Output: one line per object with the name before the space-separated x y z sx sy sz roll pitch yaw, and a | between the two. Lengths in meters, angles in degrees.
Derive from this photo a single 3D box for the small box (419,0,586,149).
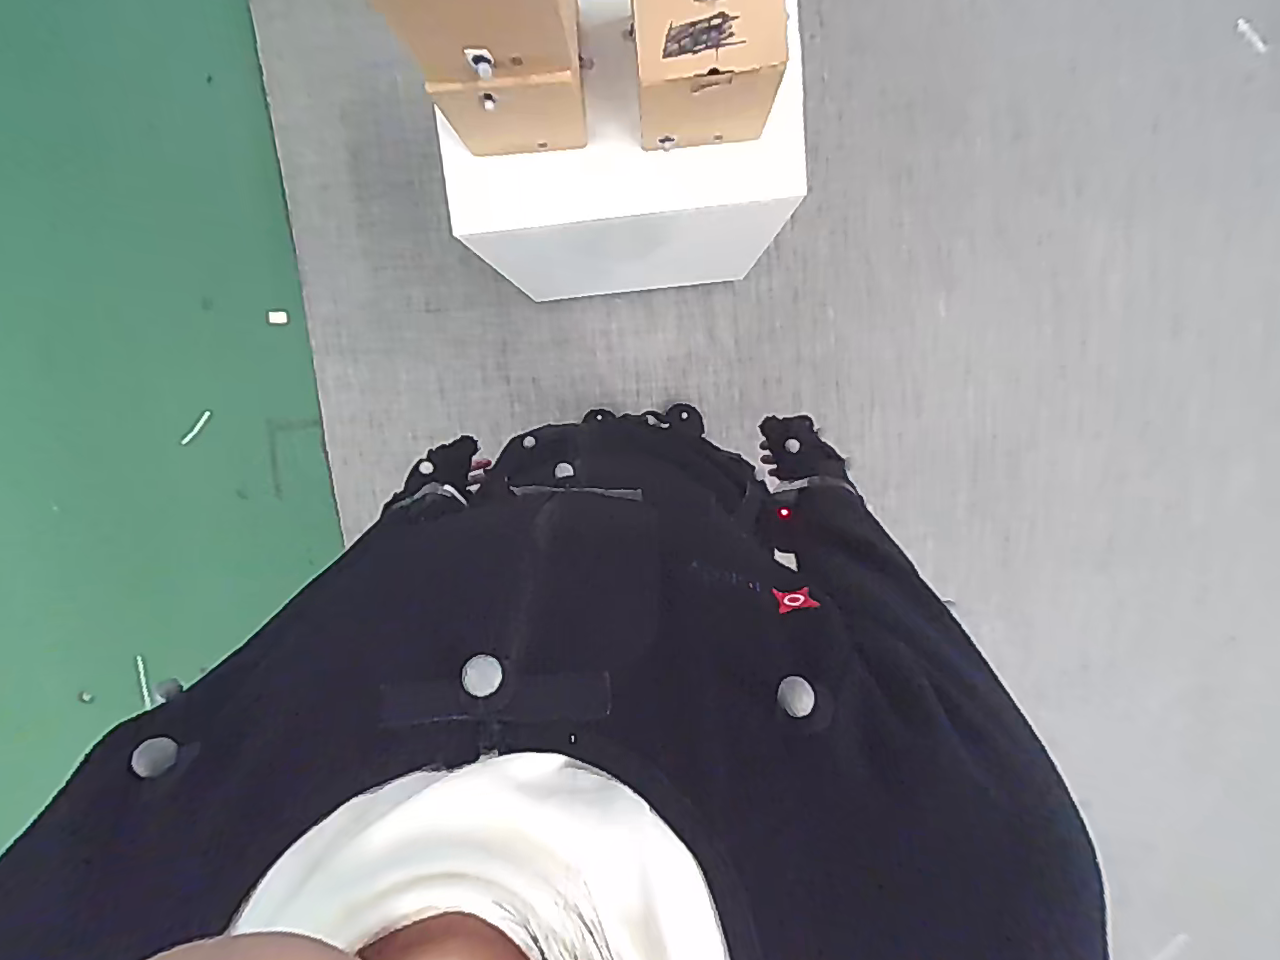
small box | -0.161 -0.542 0.665 0.168 0.176 0.179 -3 98 3

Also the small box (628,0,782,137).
small box | 0.072 -0.546 0.658 0.168 0.176 0.179 -4 97 3

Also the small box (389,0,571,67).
small box | -0.161 -0.523 0.488 0.168 0.176 0.179 -5 100 2
